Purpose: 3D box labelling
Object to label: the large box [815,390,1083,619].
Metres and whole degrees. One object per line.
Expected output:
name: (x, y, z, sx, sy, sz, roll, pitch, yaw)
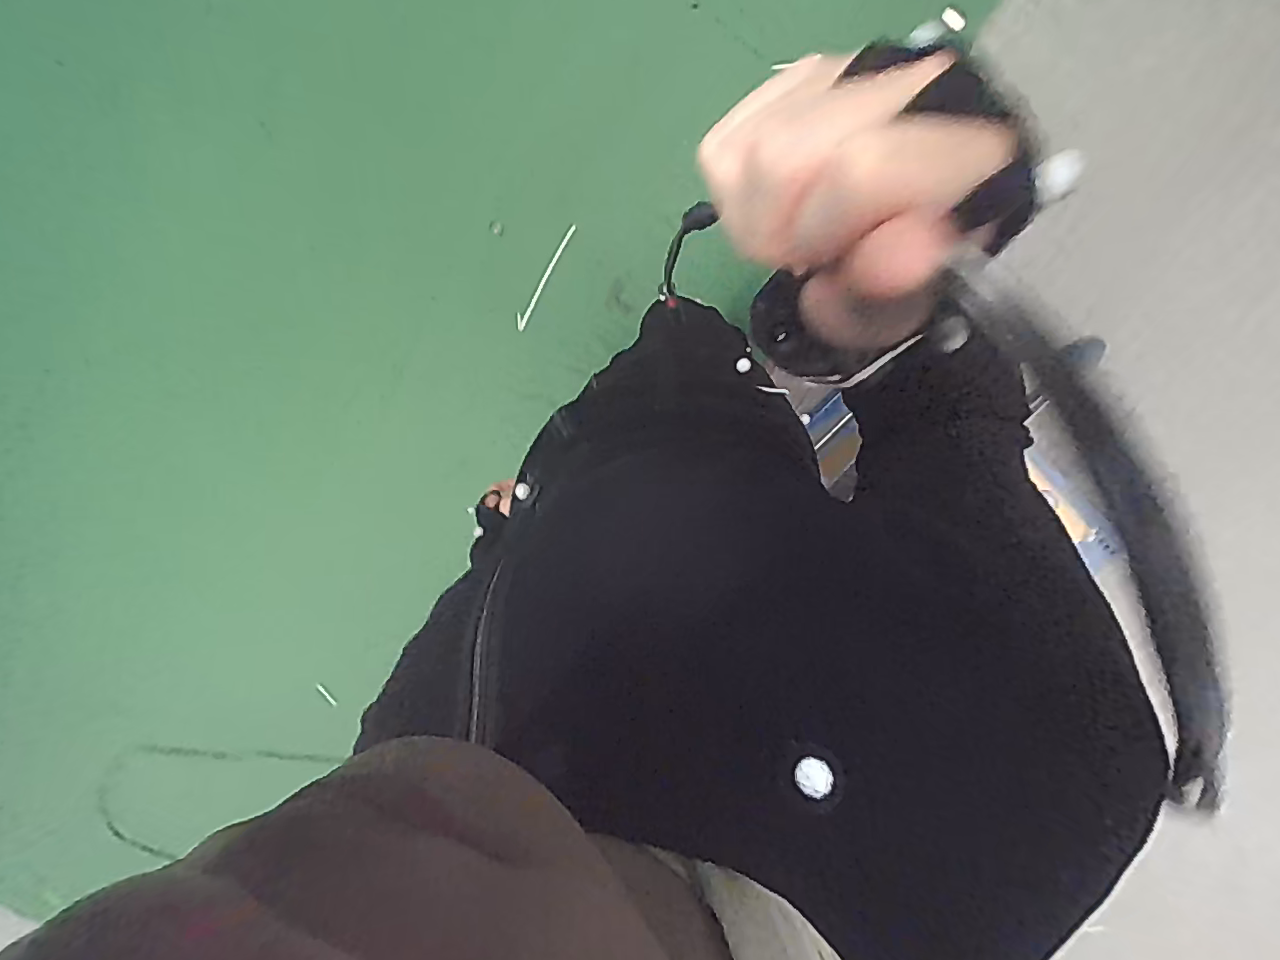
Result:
large box: (0.700, 0.039, 1.292, 0.408, 0.320, 0.320, 44, 102, -9)
